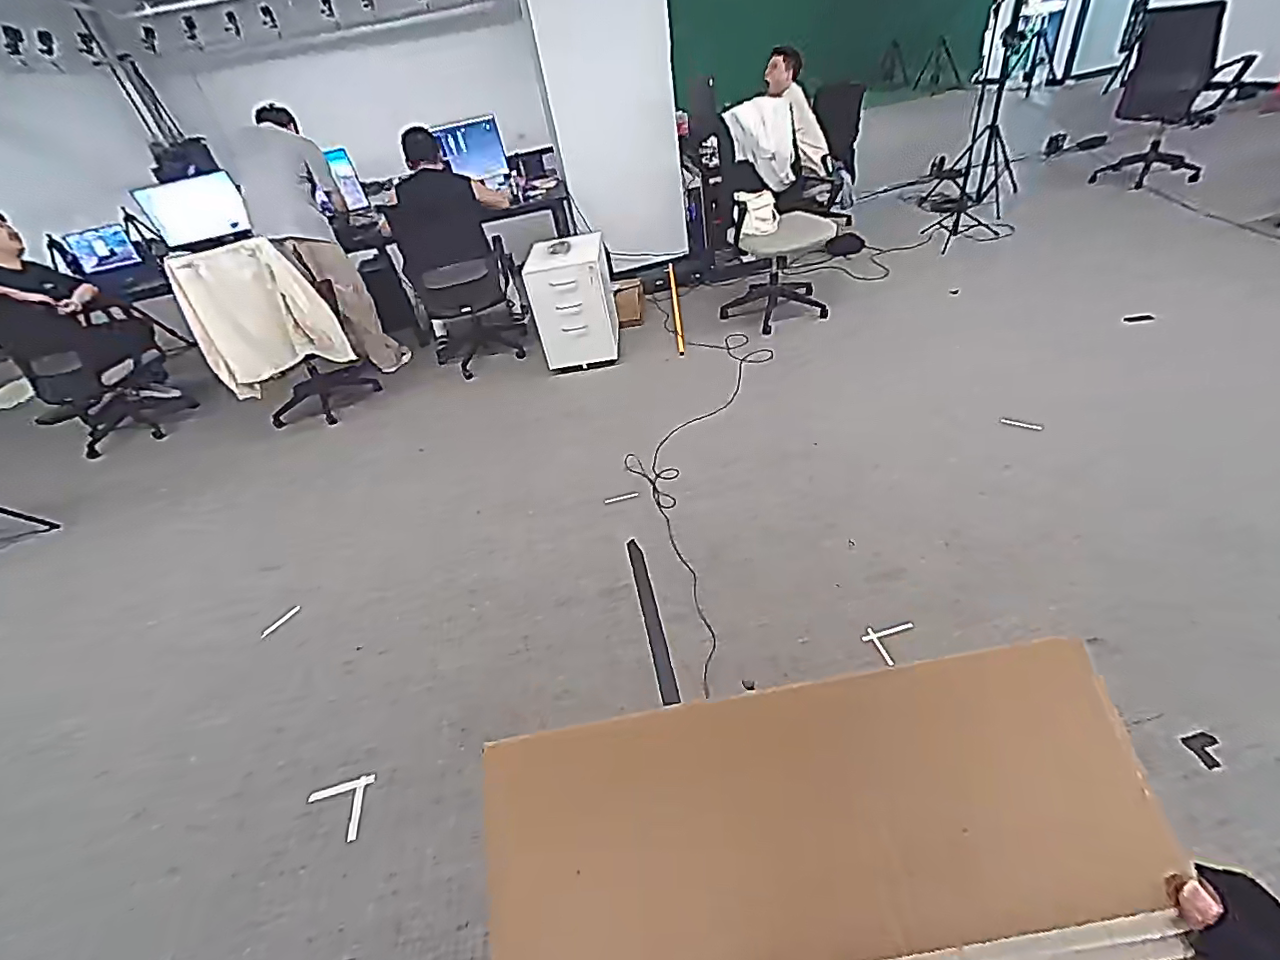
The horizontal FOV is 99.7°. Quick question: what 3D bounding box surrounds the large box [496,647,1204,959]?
[{"bbox_3d":[0.137,0.347,0.452,0.408,0.320,0.320,-12,67,1],"label":"large box"}]
